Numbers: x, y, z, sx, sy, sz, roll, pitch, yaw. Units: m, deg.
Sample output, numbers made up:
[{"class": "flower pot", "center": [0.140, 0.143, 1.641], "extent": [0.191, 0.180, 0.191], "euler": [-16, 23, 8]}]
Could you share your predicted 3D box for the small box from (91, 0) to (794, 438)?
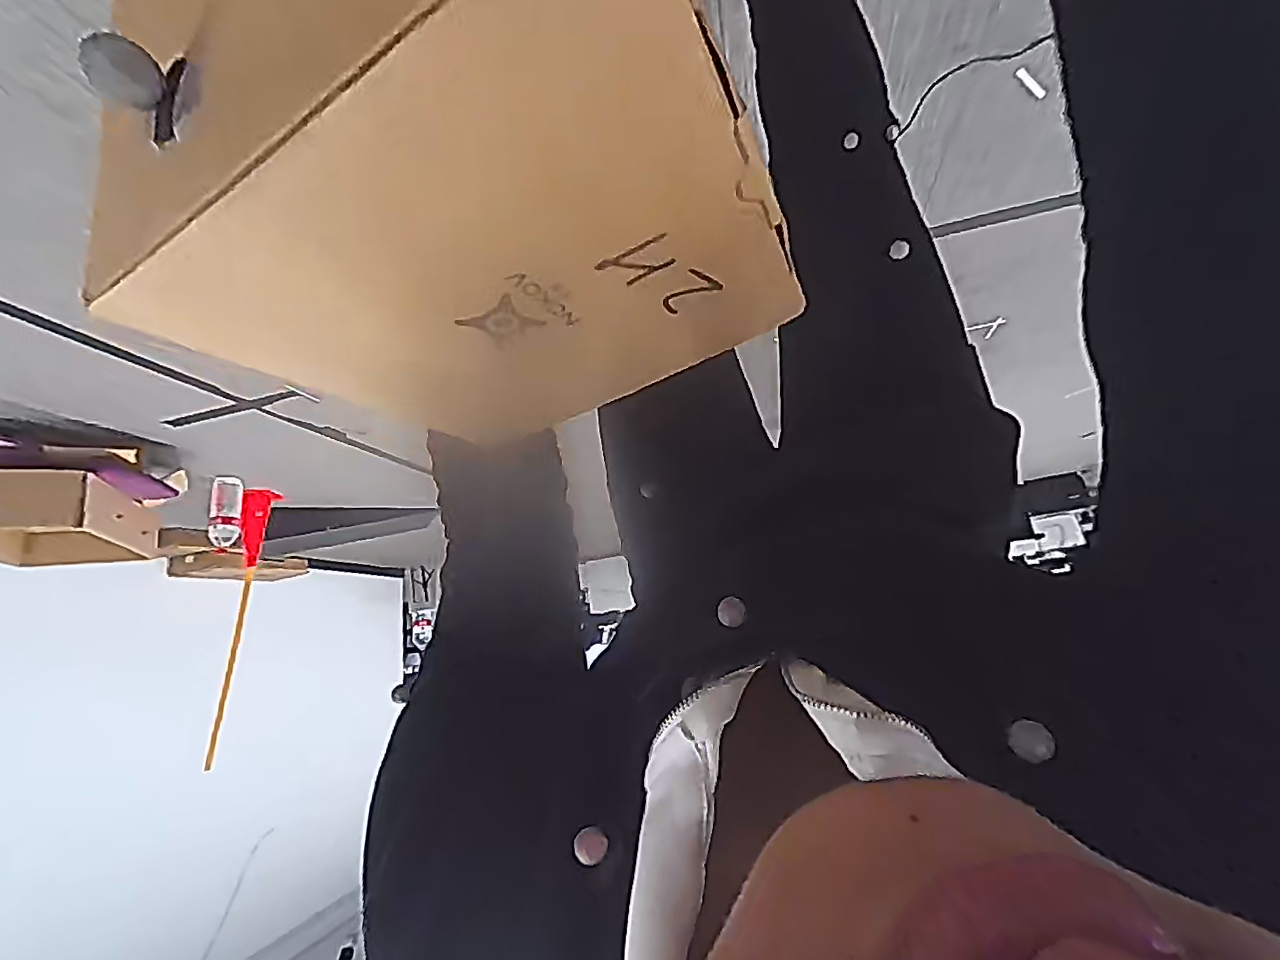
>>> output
[{"class": "small box", "center": [-0.060, -0.140, 0.214], "extent": [0.179, 0.176, 0.168], "euler": [-20, 162, 21]}]
